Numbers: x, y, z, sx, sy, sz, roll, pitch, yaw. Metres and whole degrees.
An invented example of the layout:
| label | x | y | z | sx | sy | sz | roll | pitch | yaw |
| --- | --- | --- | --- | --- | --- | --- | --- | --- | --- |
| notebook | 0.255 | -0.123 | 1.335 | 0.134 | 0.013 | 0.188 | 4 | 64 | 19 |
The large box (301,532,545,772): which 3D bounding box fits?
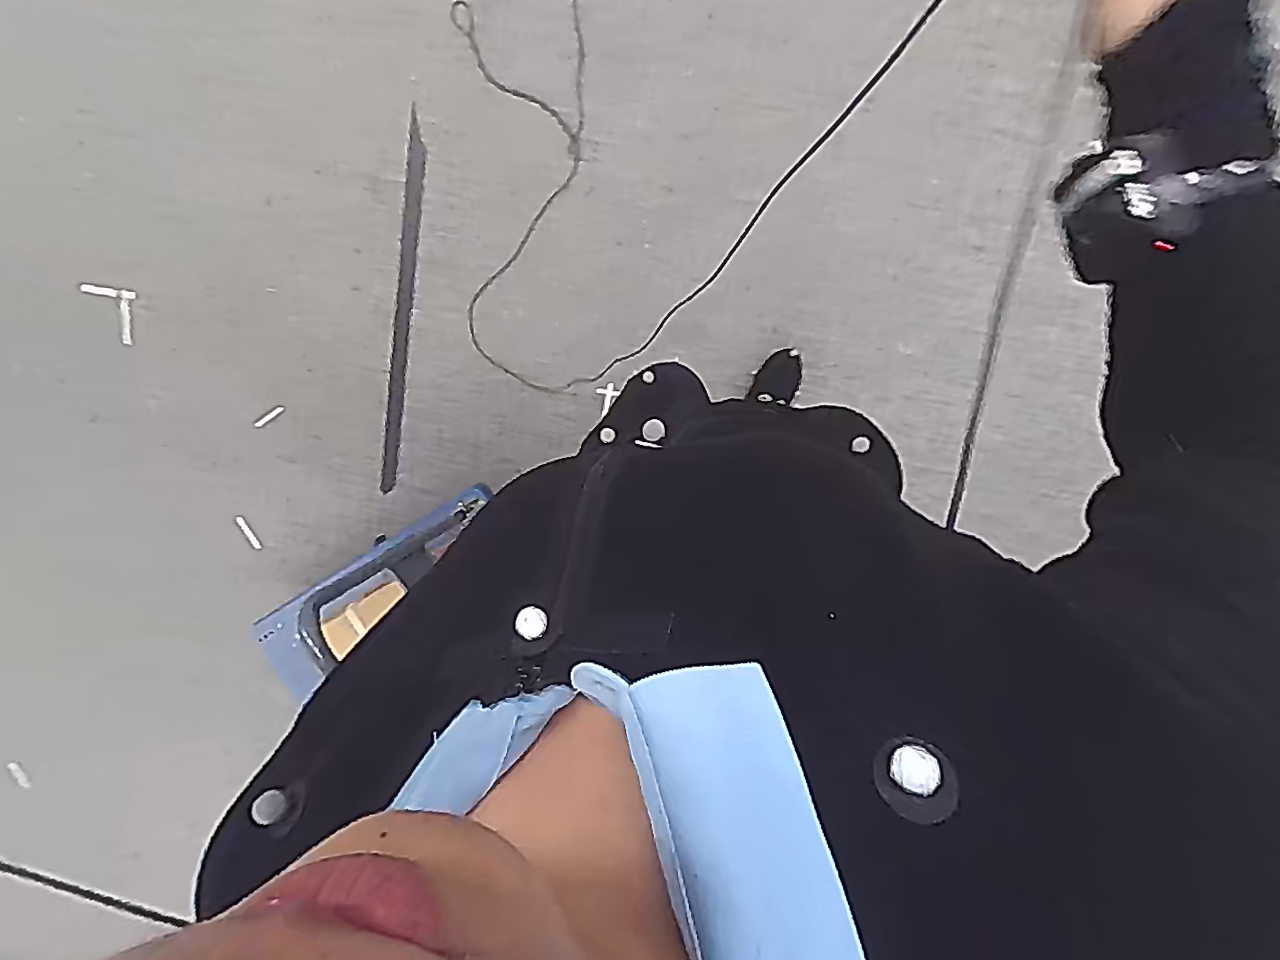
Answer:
| label | x | y | z | sx | sy | sz | roll | pitch | yaw |
| --- | --- | --- | --- | --- | --- | --- | --- | --- | --- |
| large box | -0.500 | 0.403 | 1.326 | 0.320 | 0.320 | 0.408 | -30 | 97 | 12 |
